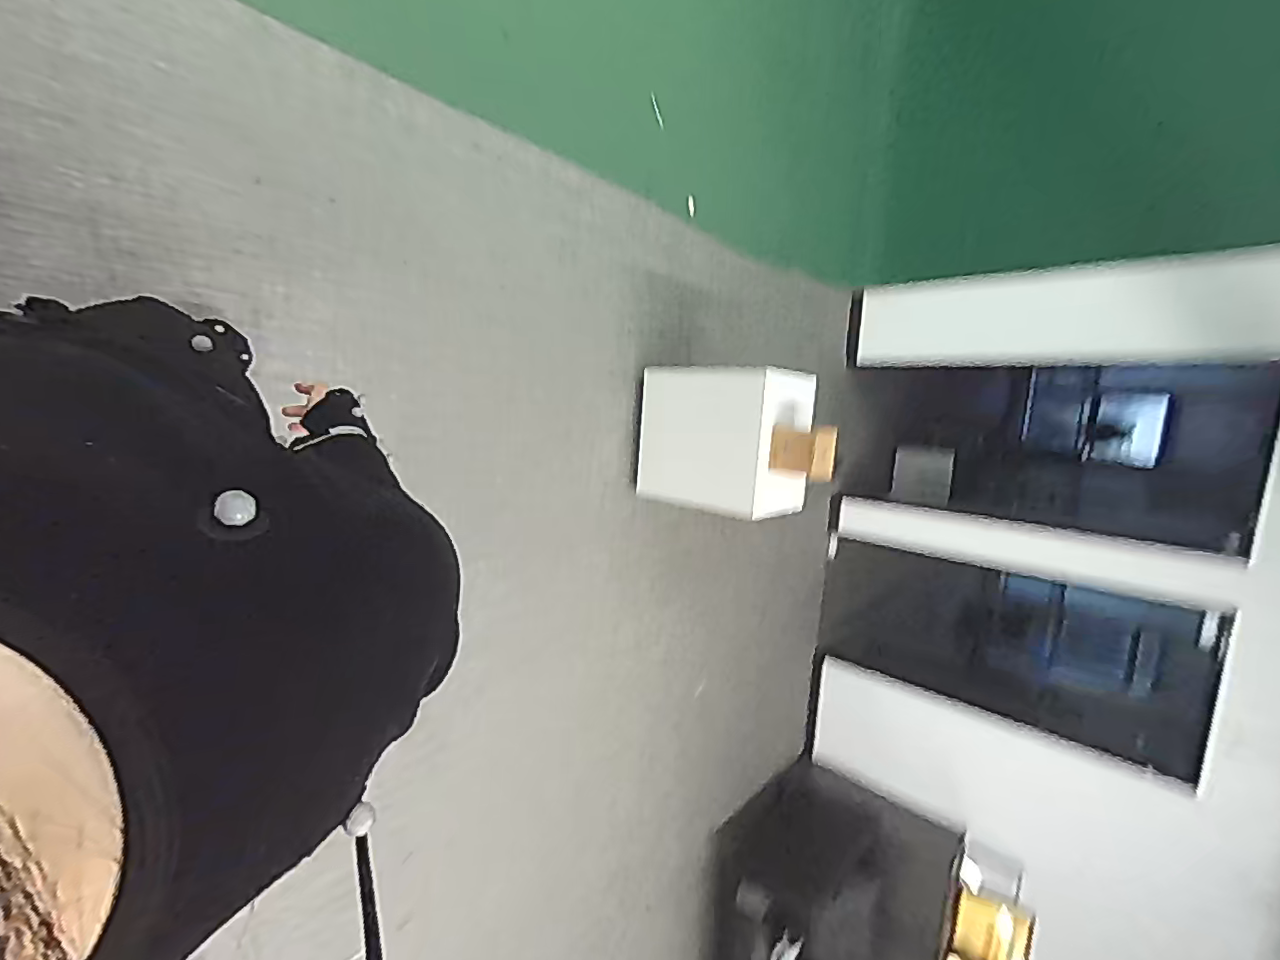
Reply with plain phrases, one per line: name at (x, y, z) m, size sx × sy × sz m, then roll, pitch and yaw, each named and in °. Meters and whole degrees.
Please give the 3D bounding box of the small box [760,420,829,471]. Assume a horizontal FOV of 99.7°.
small box at (0.552, -0.125, 1.935) m, size 0.179 × 0.176 × 0.168 m, roll -3°, pitch 101°, yaw -49°
